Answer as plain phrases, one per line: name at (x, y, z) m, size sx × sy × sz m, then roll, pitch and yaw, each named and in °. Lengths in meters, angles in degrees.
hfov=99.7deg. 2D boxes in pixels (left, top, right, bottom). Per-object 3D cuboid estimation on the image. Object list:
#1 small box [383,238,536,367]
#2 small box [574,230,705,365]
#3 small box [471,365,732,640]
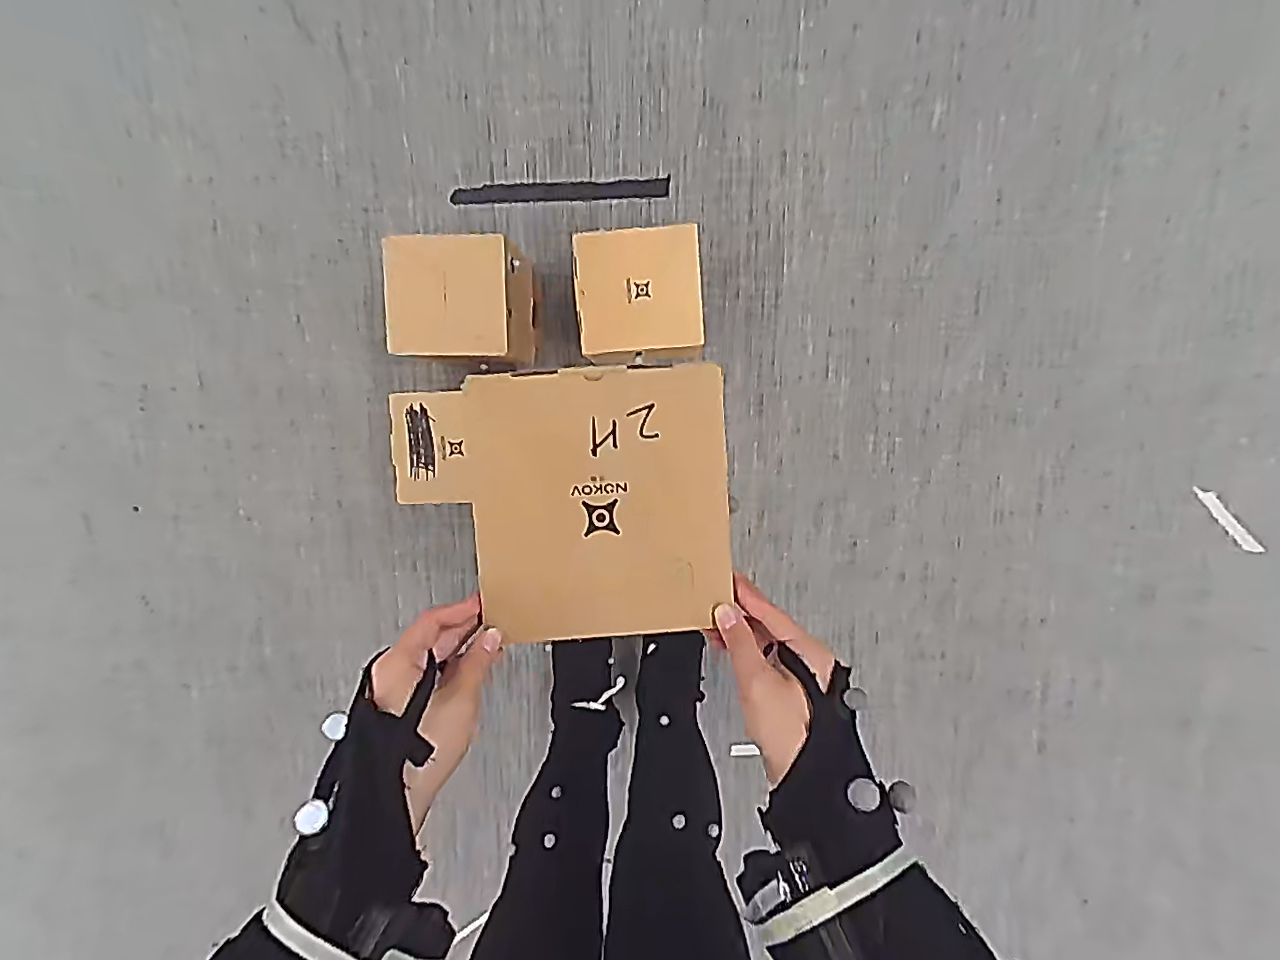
small box at (-0.268, -0.265, 0.839) m, size 0.179 × 0.176 × 0.168 m, roll 1°, pitch 97°, yaw 2°
small box at (0.002, -0.270, 0.834) m, size 0.179 × 0.176 × 0.168 m, roll -4°, pitch 97°, yaw 3°
small box at (-0.025, 0.010, 0.432) m, size 0.168 × 0.176 × 0.179 m, roll -4°, pitch 93°, yaw -2°
